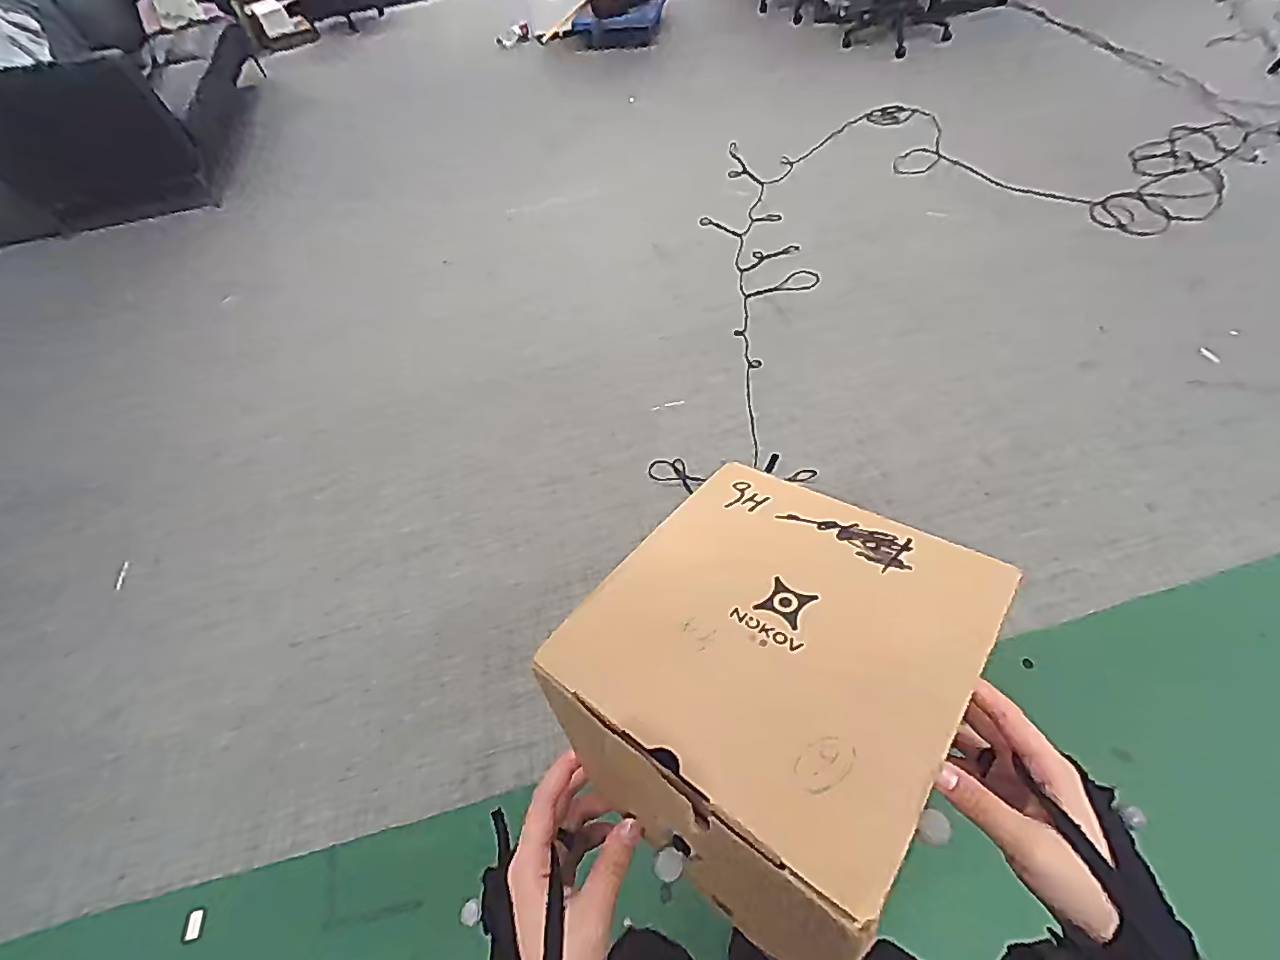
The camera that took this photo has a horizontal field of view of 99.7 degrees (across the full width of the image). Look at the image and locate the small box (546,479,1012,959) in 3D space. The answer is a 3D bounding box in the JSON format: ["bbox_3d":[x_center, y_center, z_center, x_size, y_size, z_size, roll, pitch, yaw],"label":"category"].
[{"bbox_3d":[0.079,0.135,0.316,0.168,0.176,0.179,24,51,35],"label":"small box"}]
